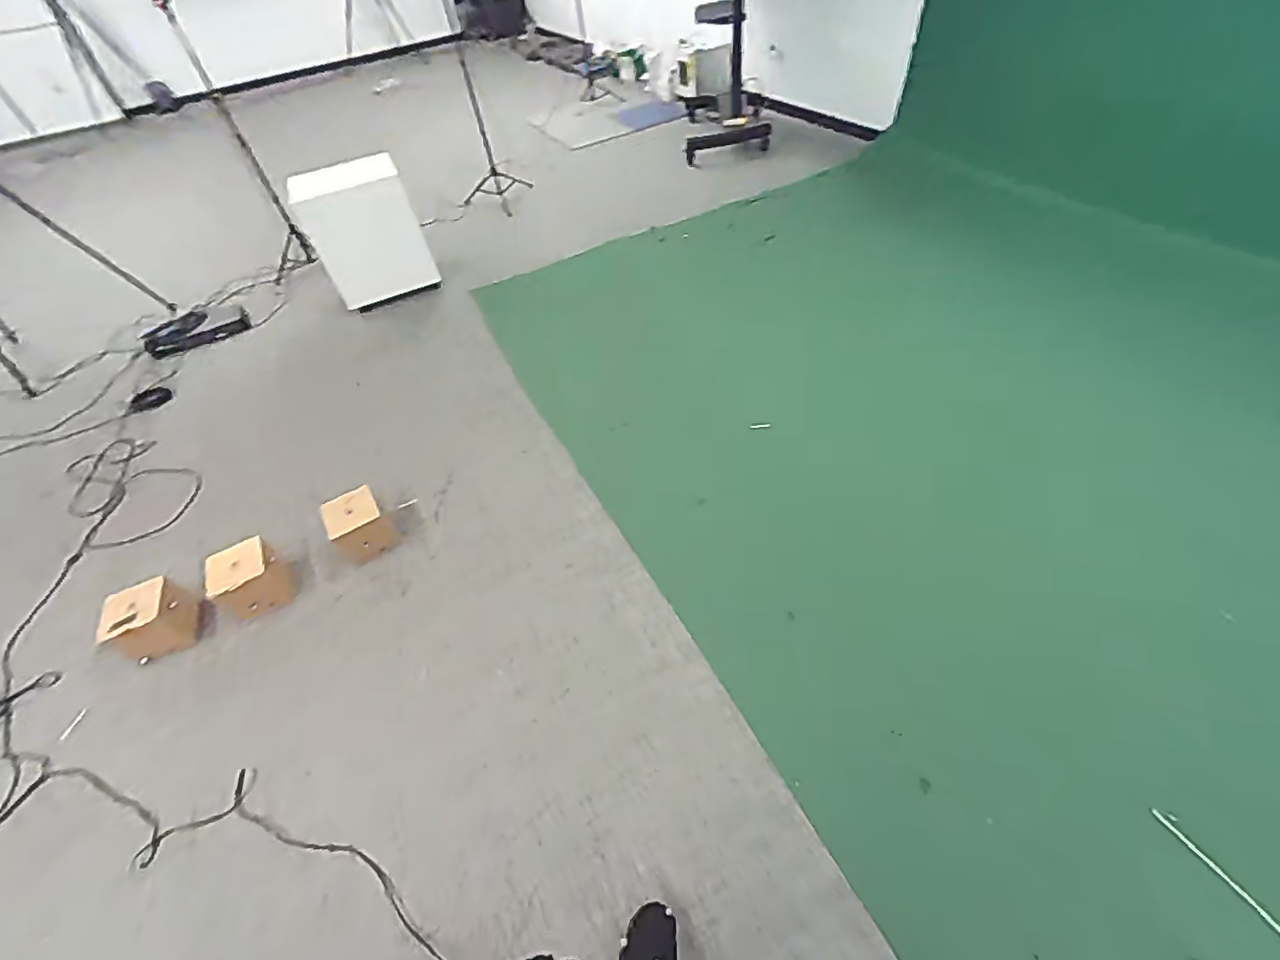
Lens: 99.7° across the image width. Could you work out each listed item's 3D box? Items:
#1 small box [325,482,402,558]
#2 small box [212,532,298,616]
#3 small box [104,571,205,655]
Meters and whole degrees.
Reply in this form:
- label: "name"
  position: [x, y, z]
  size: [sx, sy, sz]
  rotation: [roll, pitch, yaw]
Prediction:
- label: "small box"
  position: [-0.945, 0.146, 1.860]
  size: [0.168, 0.176, 0.179]
  rotation: [-28, 52, -17]
- label: "small box"
  position: [-1.251, 0.309, 1.762]
  size: [0.168, 0.176, 0.179]
  rotation: [-27, 52, -16]
- label: "small box"
  position: [-1.509, 0.424, 1.694]
  size: [0.168, 0.176, 0.179]
  rotation: [-23, 49, -12]
